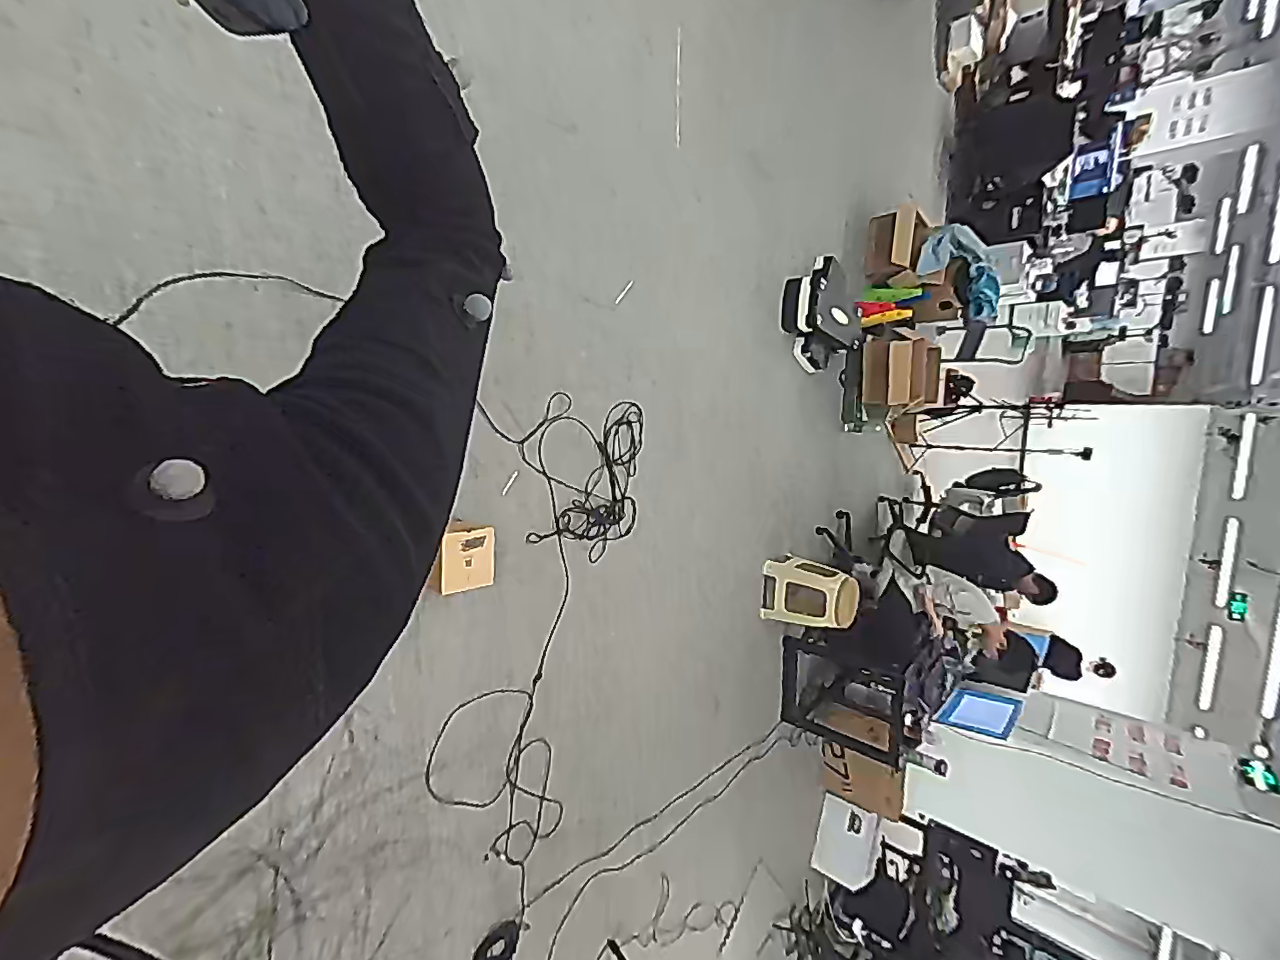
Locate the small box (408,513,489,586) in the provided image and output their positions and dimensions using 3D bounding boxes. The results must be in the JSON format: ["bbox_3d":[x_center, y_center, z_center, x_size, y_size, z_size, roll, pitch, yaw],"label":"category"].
[{"bbox_3d":[-0.560,0.195,1.577,0.168,0.176,0.179,-4,100,-49],"label":"small box"}]
